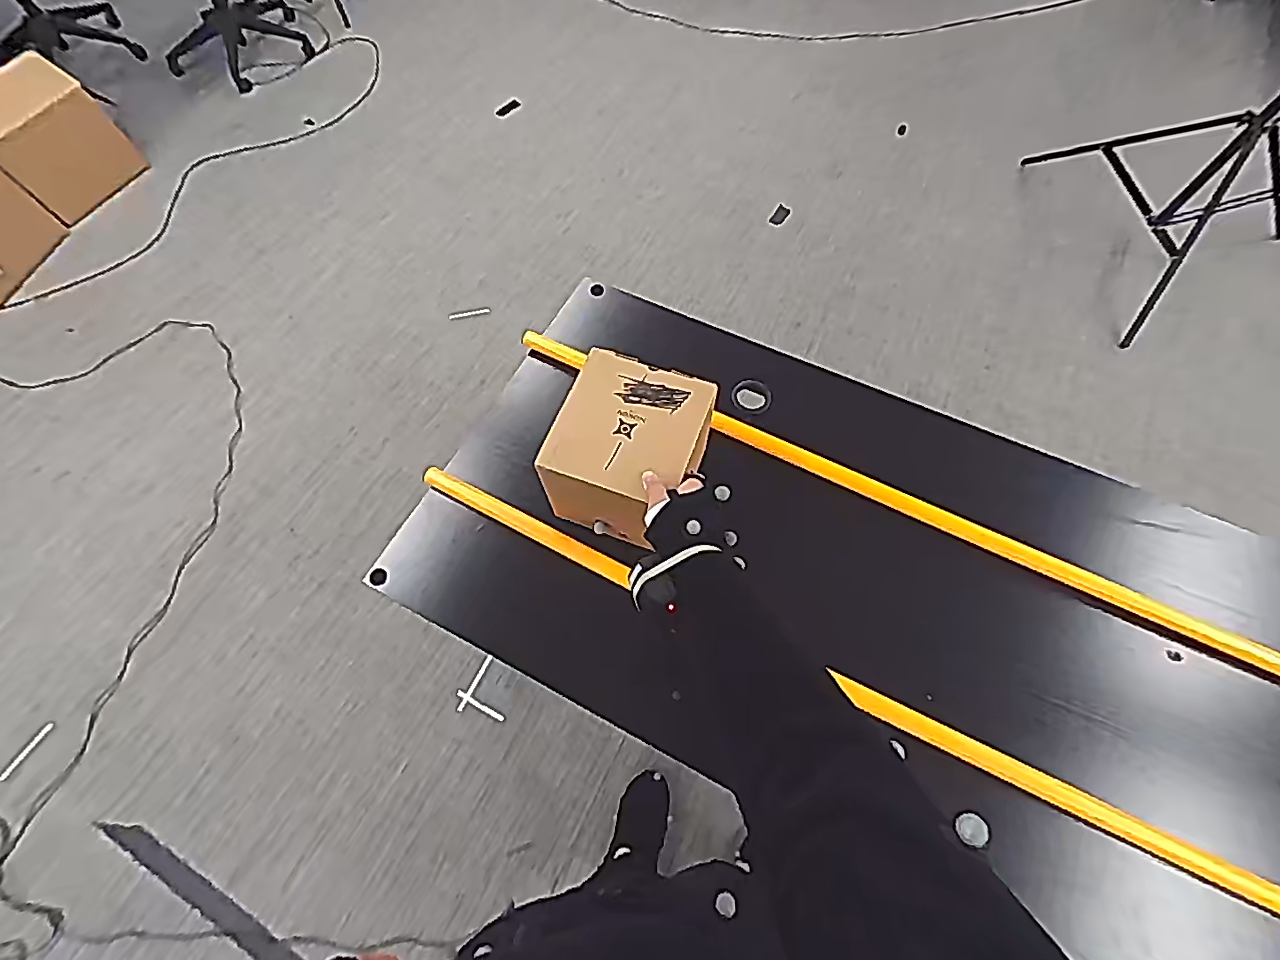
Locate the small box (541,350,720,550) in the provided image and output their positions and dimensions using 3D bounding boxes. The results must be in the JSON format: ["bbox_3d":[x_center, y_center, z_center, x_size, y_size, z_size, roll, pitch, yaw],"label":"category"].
[{"bbox_3d":[-0.008,-0.032,0.705,0.168,0.176,0.179,19,68,10],"label":"small box"}]
